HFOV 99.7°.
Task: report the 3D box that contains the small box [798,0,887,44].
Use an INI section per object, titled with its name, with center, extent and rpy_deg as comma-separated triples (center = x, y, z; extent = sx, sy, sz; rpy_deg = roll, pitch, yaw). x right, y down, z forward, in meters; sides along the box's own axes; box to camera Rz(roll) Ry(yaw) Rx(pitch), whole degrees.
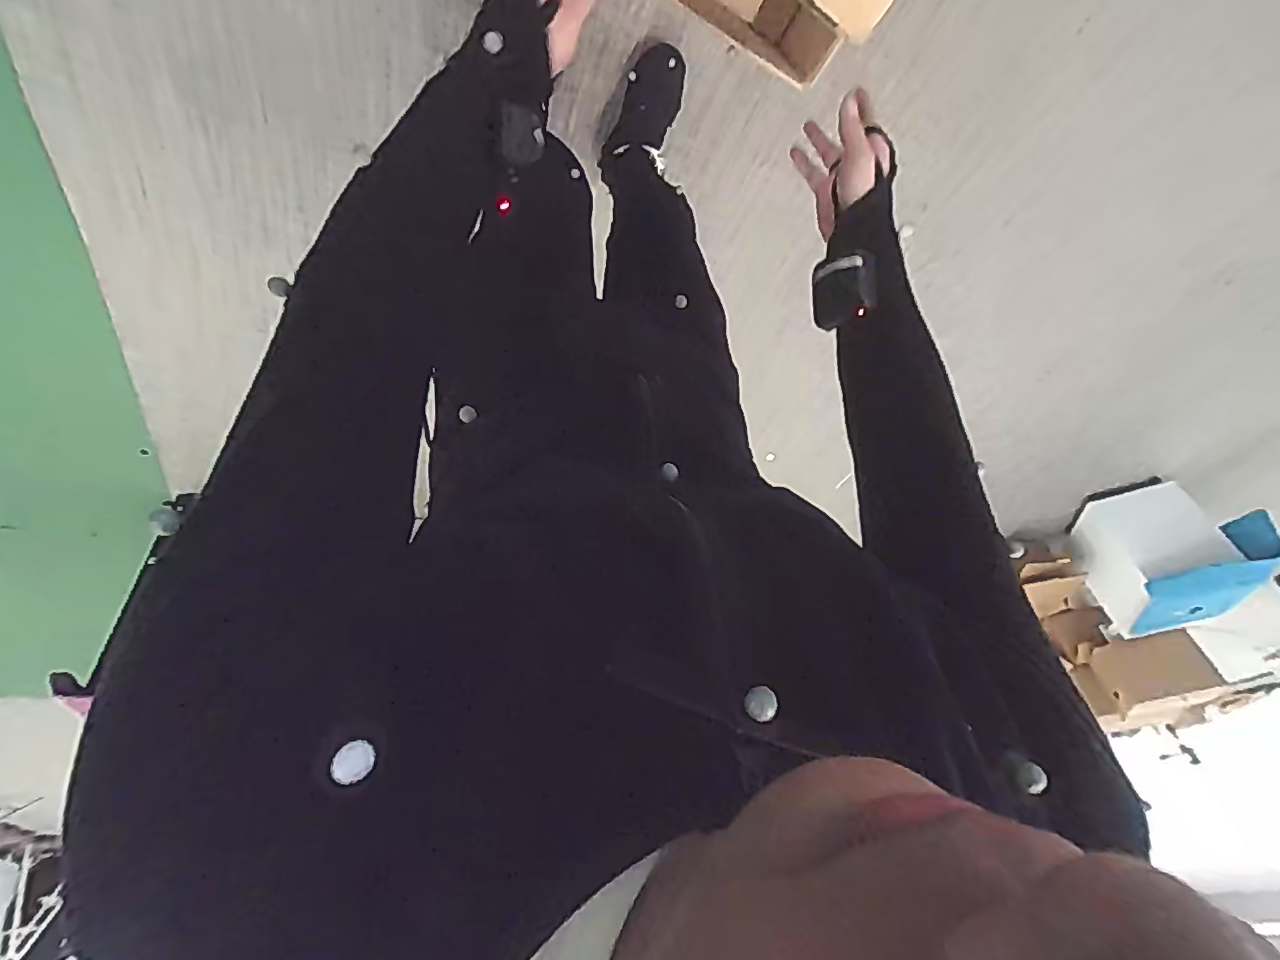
[small box]
center = 0.165, -0.532, 0.455
extent = 0.168, 0.176, 0.179
rpy_deg = 16, 136, -28
